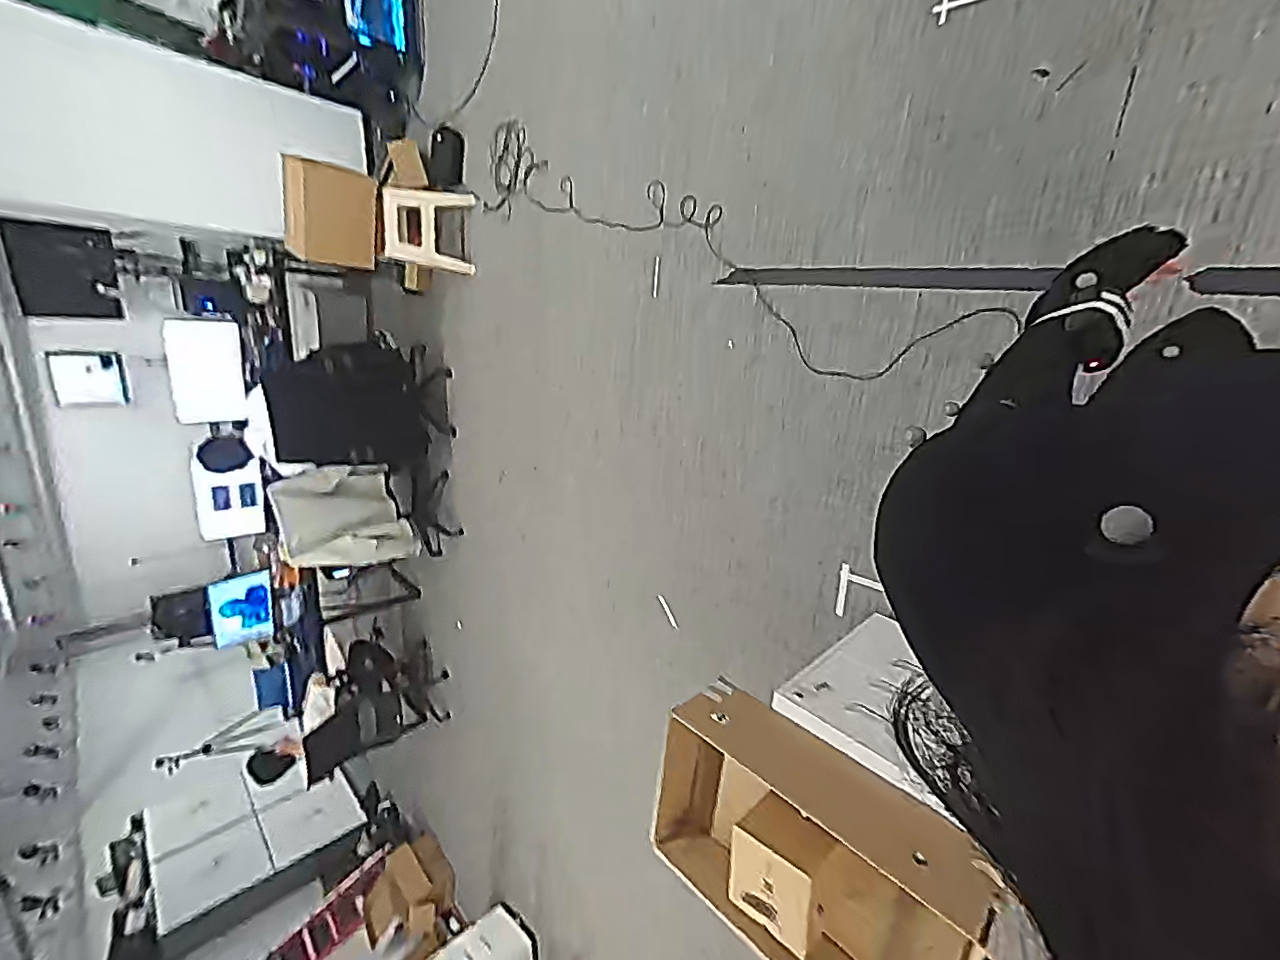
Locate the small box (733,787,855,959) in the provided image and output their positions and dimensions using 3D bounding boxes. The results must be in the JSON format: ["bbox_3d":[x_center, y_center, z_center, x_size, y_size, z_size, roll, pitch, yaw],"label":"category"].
[{"bbox_3d":[0.299,0.748,1.046,0.168,0.176,0.179,11,104,44],"label":"small box"}]
